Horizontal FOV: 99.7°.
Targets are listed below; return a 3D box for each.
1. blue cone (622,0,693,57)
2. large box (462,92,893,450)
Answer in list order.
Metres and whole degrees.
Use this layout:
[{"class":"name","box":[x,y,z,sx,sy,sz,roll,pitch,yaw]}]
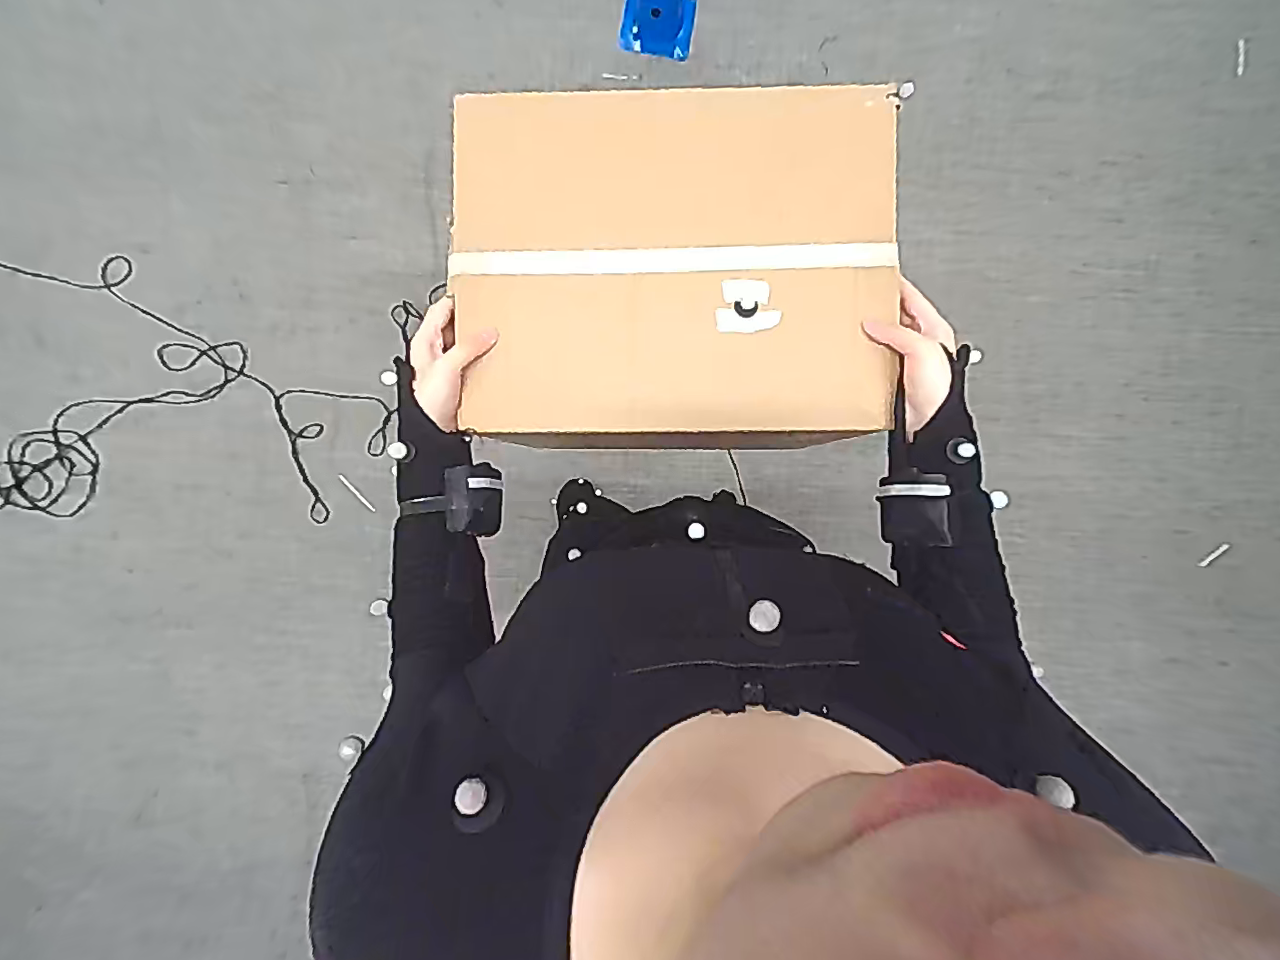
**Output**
[{"class":"blue cone","box":[0.050,-1.315,1.381,0.193,0.380,0.192,11,88,0]},{"class":"large box","box":[0.034,-0.203,0.652,0.408,0.320,0.320,-1,91,1]}]
